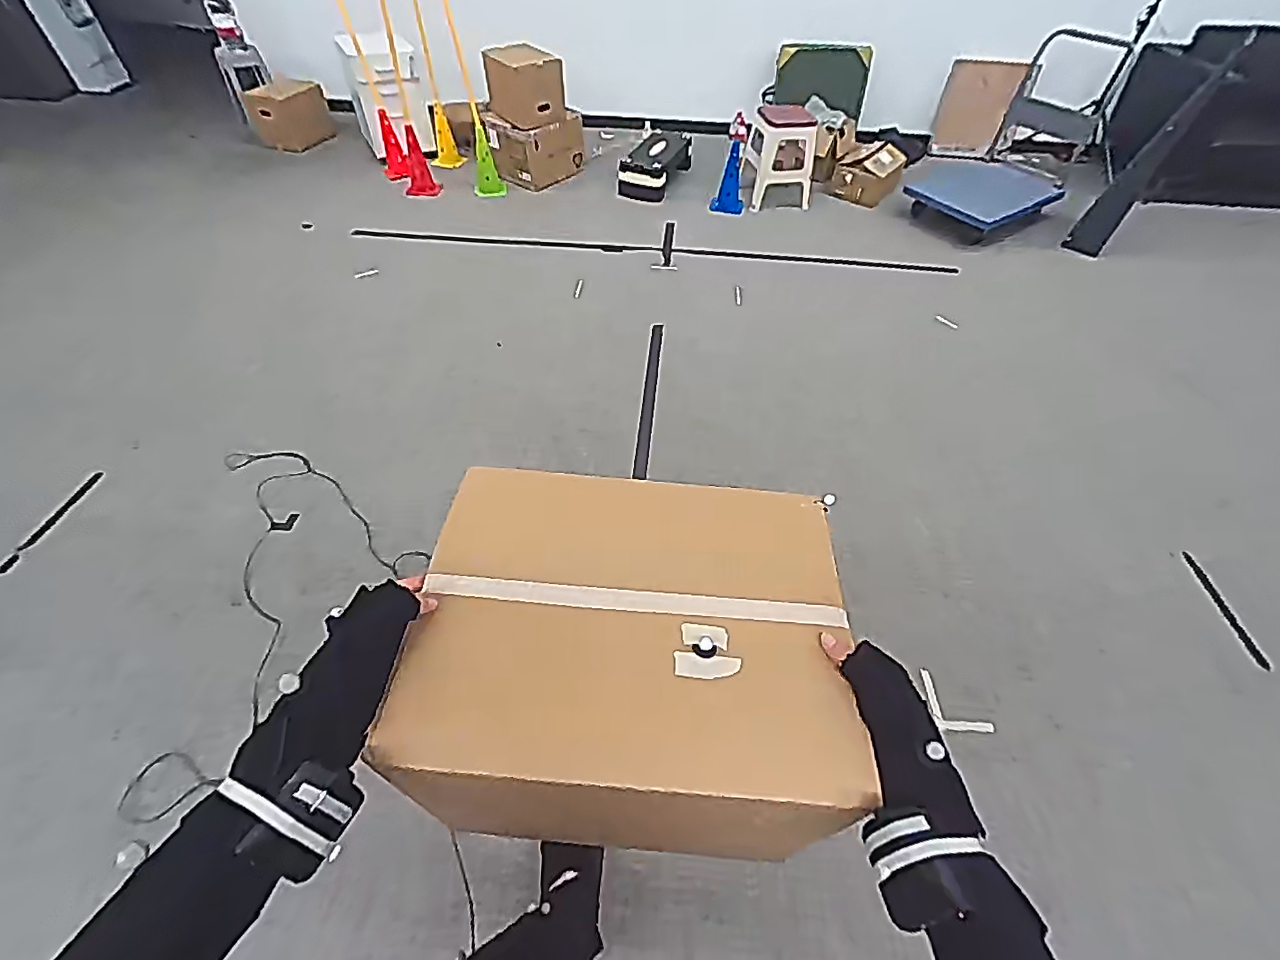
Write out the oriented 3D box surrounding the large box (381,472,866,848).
[{"bbox_3d":[-0.014,0.217,0.642,0.408,0.320,0.320,5,49,1],"label":"large box"}]
